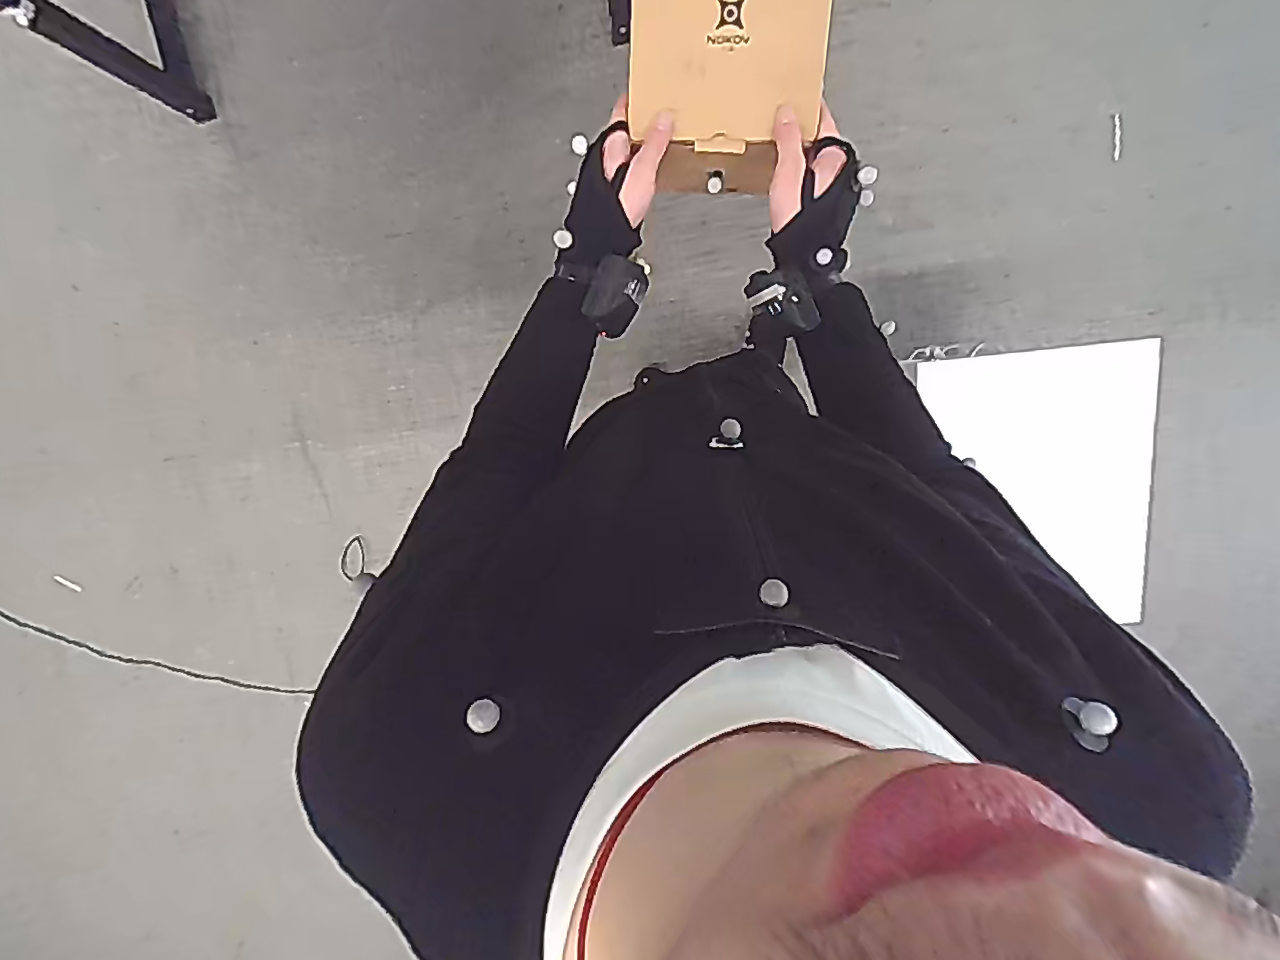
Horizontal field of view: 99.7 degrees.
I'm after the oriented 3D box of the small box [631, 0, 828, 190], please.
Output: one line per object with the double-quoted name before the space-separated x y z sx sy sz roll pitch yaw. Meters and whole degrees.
"small box" 0.083 -0.399 0.534 0.168 0.176 0.179 1 104 6
